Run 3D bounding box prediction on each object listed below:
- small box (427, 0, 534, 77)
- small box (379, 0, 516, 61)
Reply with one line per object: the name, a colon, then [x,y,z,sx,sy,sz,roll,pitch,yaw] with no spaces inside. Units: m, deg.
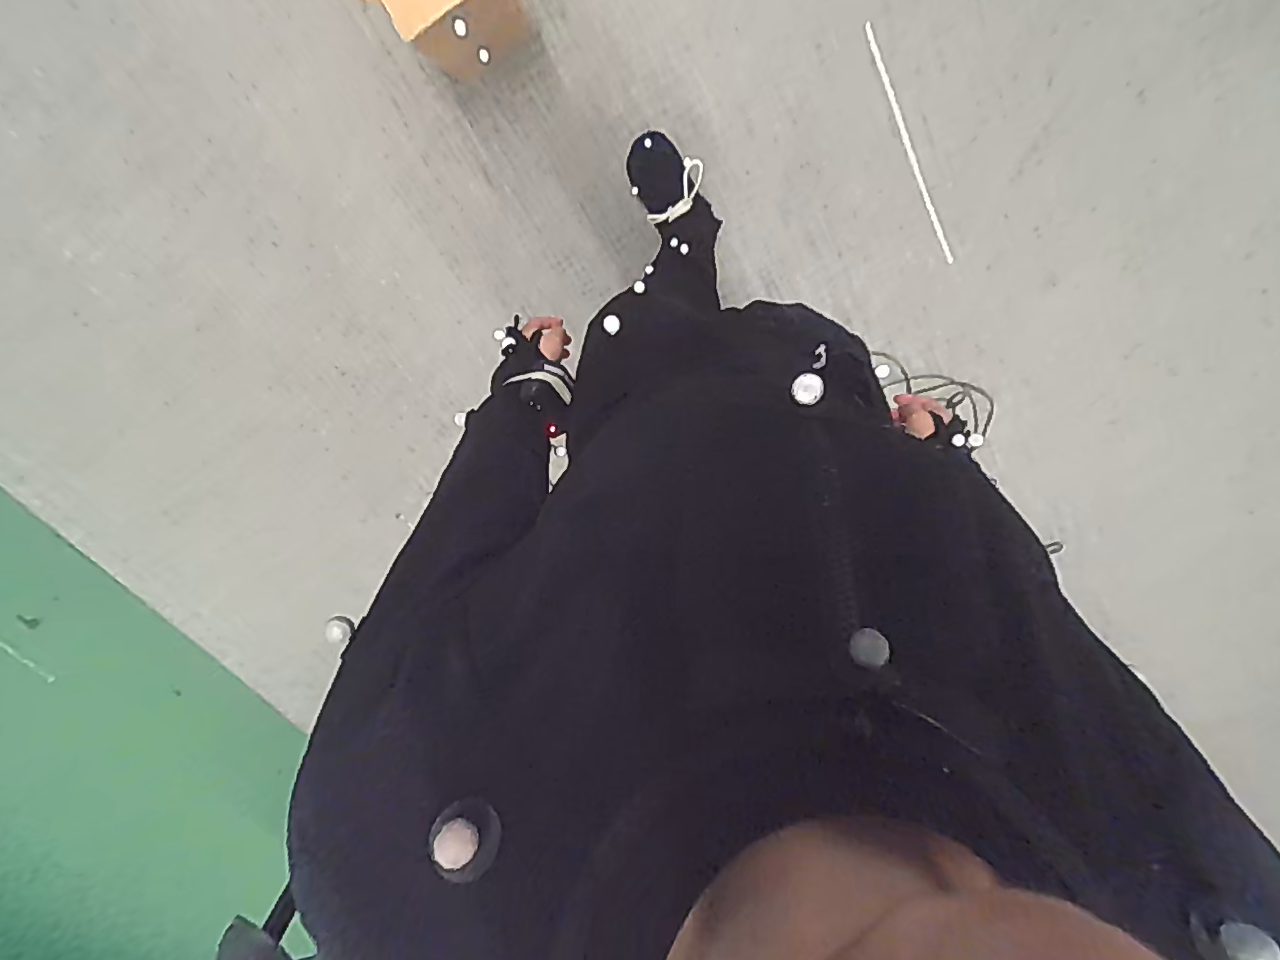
small box: [-0.312,-0.852,0.948,0.179,0.176,0.168,-24,113,16]
small box: [-0.303,-0.773,0.804,0.179,0.176,0.168,-24,114,15]
